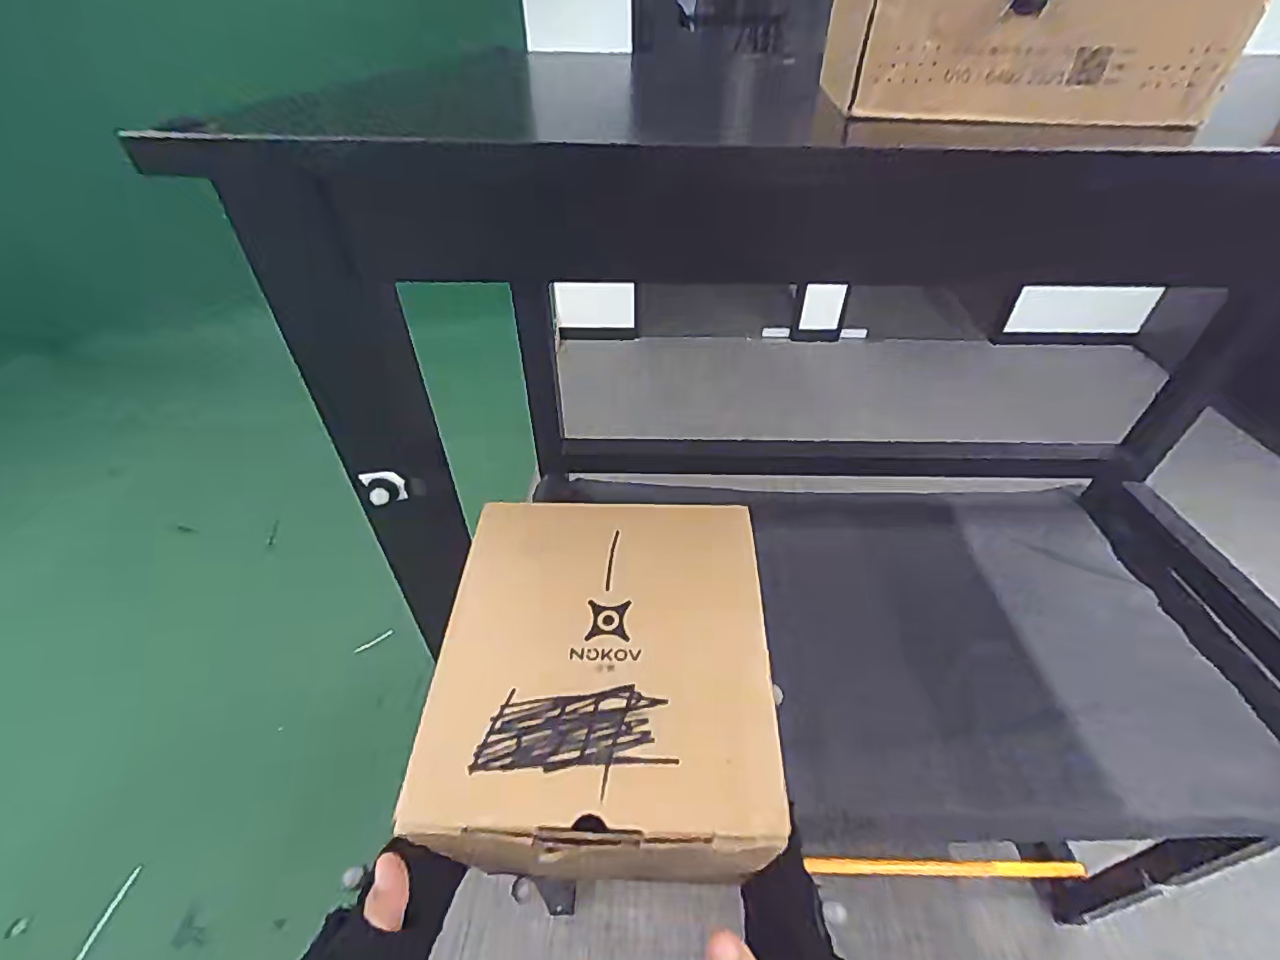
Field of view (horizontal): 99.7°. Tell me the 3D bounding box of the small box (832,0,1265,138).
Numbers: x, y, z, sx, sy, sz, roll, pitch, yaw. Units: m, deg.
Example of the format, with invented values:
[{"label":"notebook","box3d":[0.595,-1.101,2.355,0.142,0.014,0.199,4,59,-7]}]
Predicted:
[{"label":"small box","box3d":[0.209,-0.297,0.286,0.168,0.176,0.179,7,42,7]}]
